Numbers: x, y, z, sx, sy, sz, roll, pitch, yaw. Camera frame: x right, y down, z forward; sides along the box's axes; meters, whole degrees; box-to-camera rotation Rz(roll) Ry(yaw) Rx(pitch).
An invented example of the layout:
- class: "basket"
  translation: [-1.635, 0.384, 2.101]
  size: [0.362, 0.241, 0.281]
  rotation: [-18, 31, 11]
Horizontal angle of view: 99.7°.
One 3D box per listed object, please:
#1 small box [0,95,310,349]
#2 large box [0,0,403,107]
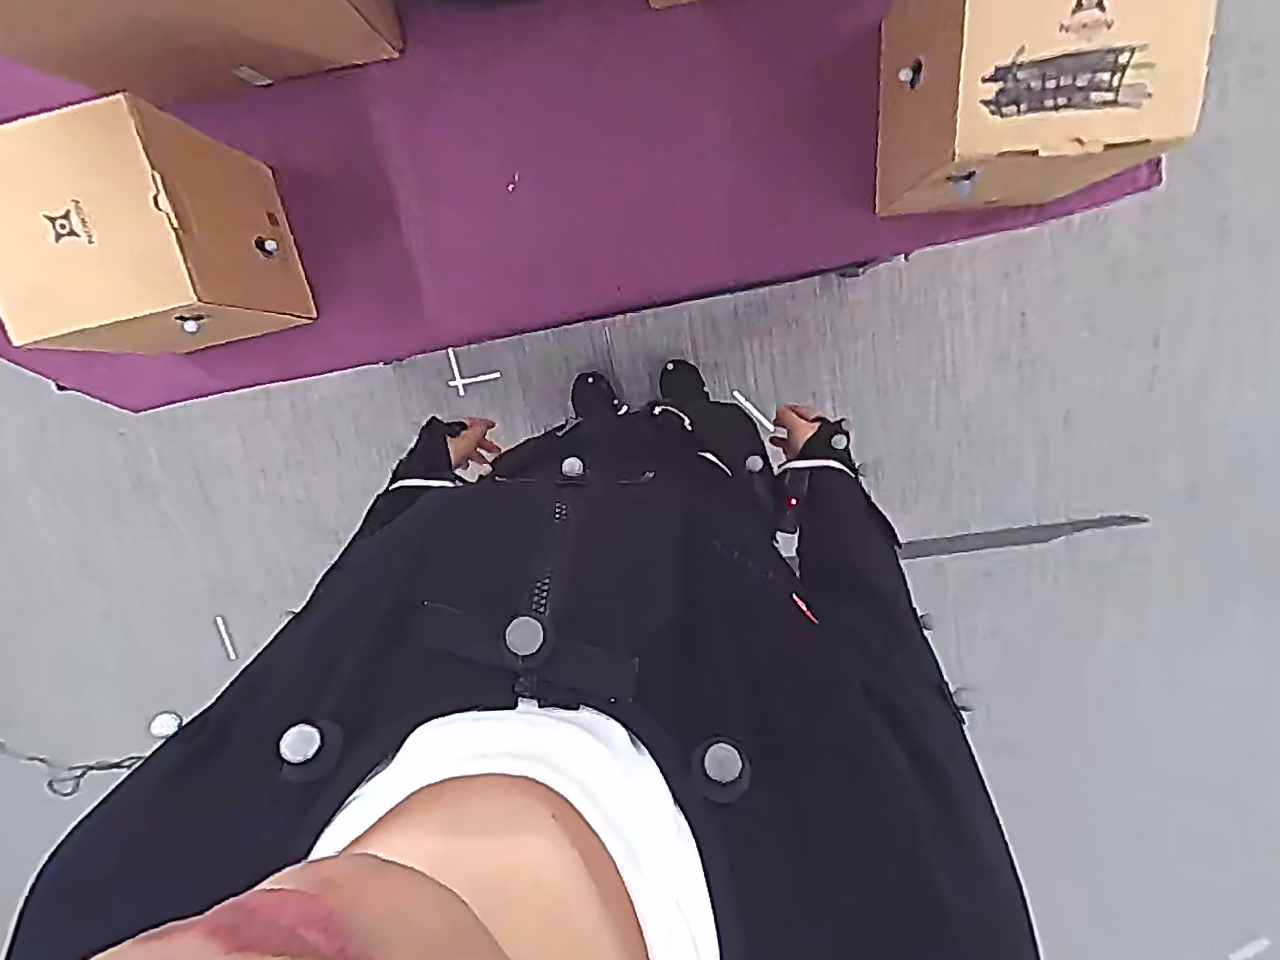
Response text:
- class: "small box"
  translation: [-0.477, -0.230, 0.533]
  size: [0.179, 0.176, 0.168]
  rotation: [-13, 101, 3]
- class: "large box"
  translation: [-0.429, -0.572, 0.382]
  size: [0.320, 0.320, 0.408]
  rotation: [-8, 105, 6]
